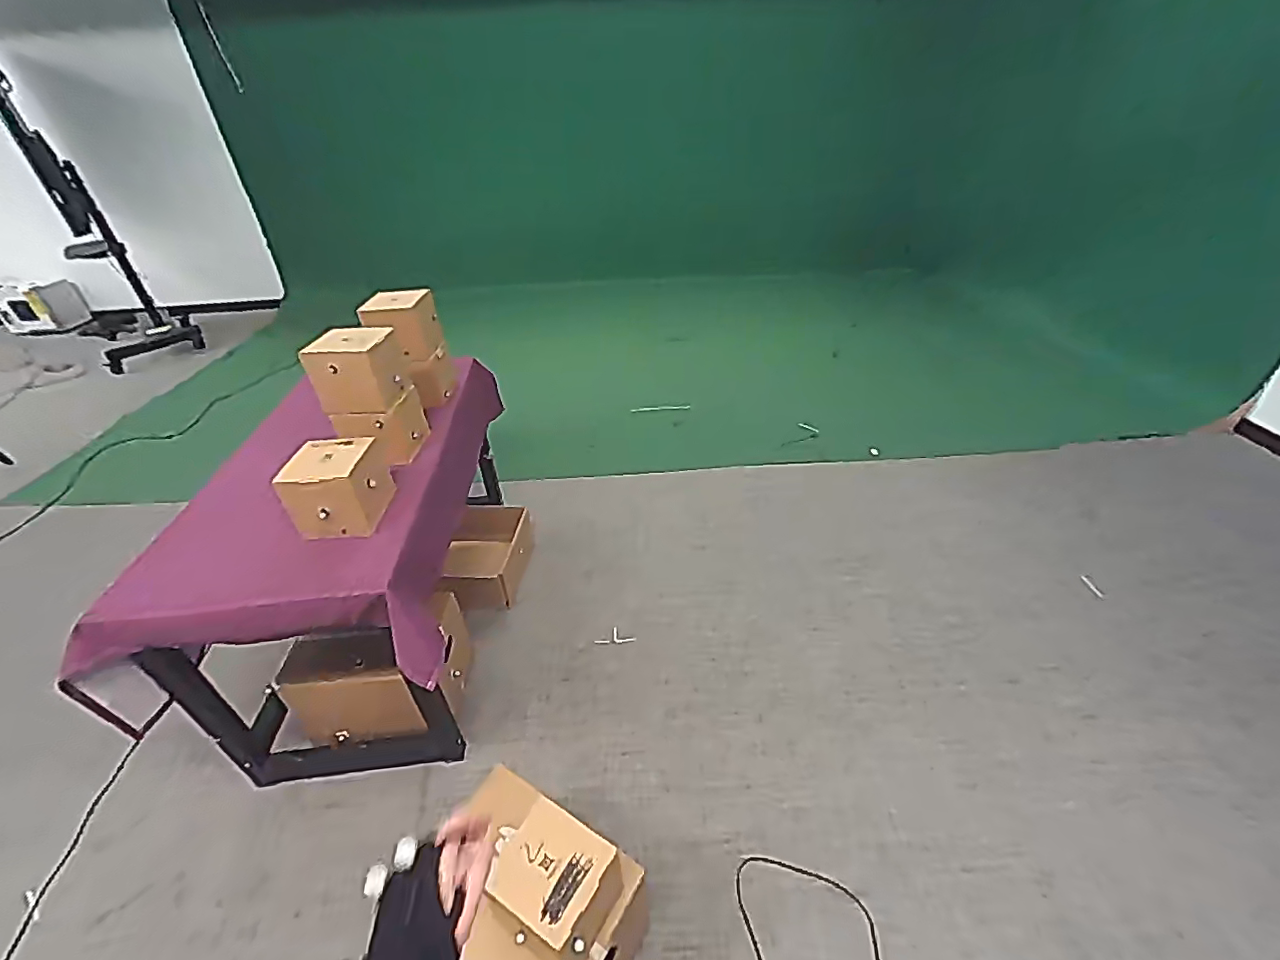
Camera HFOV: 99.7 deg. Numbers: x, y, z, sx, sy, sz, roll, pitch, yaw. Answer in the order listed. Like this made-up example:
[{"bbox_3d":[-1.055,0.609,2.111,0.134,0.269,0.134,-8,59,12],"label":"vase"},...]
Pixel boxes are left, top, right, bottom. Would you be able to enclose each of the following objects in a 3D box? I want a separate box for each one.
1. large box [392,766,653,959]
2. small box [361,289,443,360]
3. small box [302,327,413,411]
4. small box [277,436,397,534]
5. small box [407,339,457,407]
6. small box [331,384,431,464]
[{"bbox_3d":[-0.222,0.906,1.137,0.408,0.320,0.320,18,40,28],"label":"large box"},{"bbox_3d":[-0.728,-0.482,1.680,0.168,0.176,0.179,-4,37,2],"label":"small box"},{"bbox_3d":[-0.730,-0.290,1.419,0.179,0.176,0.168,0,37,5],"label":"small box"},{"bbox_3d":[-0.698,0.016,1.273,0.168,0.176,0.179,-3,37,0],"label":"small box"},{"bbox_3d":[-0.717,-0.348,1.773,0.179,0.176,0.168,-4,36,0],"label":"small box"},{"bbox_3d":[-0.715,-0.157,1.515,0.179,0.176,0.168,0,36,3],"label":"small box"}]
